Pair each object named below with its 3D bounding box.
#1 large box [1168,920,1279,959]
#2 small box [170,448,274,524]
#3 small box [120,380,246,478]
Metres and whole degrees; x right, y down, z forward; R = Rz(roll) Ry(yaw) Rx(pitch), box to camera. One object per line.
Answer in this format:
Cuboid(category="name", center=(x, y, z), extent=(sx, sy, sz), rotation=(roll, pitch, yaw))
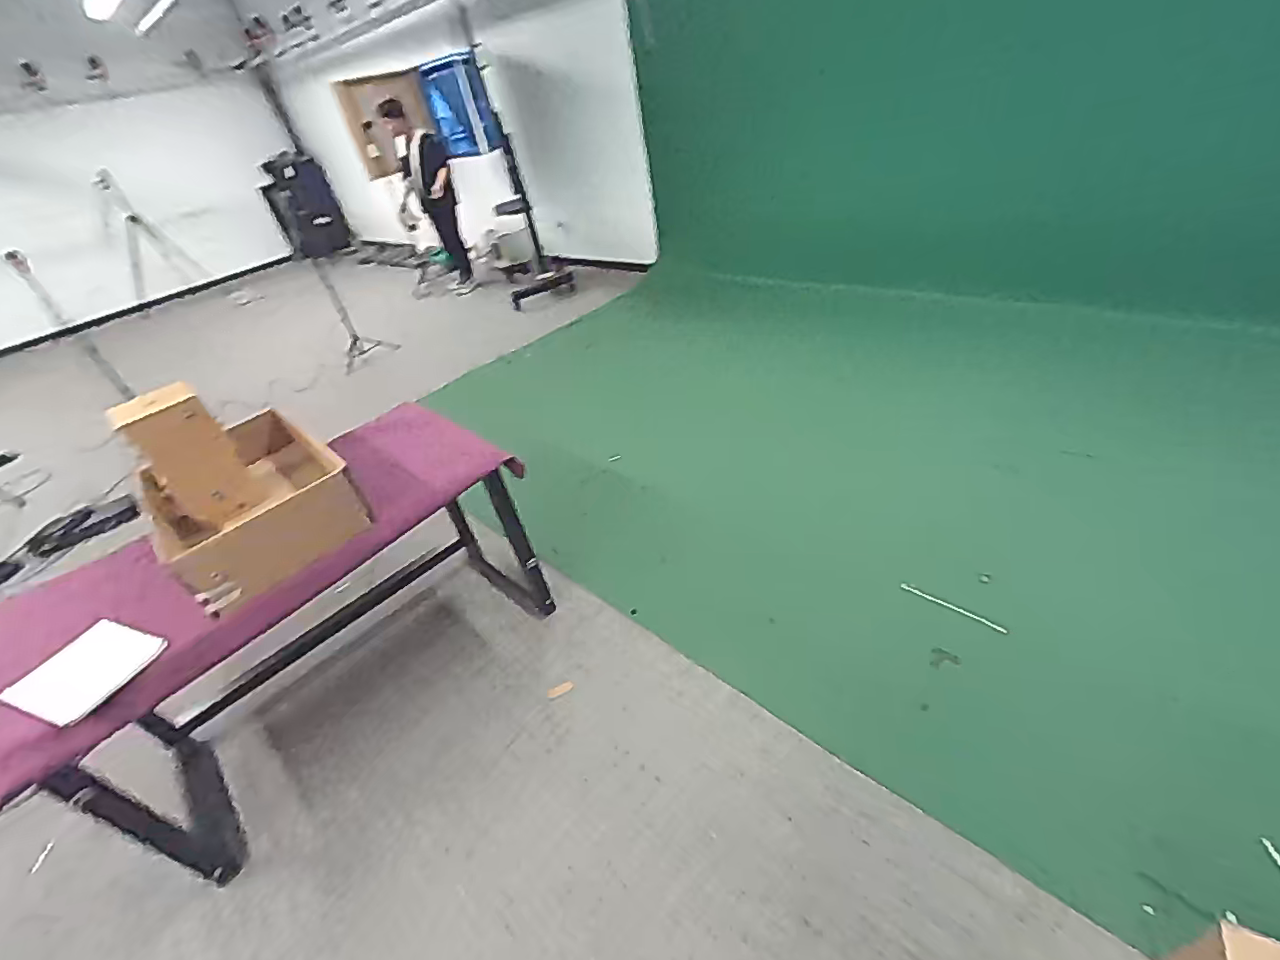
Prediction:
Cuboid(category="large box", center=(1.003, 0.974, 0.763), extent=(0.320, 0.320, 0.408), rotation=(12, 42, 28))
Cuboid(category="small box", center=(-1.152, -0.003, 1.490), extent=(0.168, 0.176, 0.179), rotation=(-37, 44, -29))
Cuboid(category="small box", center=(-1.172, -0.131, 1.393), extent=(0.168, 0.176, 0.179), rotation=(24, 50, 37))
